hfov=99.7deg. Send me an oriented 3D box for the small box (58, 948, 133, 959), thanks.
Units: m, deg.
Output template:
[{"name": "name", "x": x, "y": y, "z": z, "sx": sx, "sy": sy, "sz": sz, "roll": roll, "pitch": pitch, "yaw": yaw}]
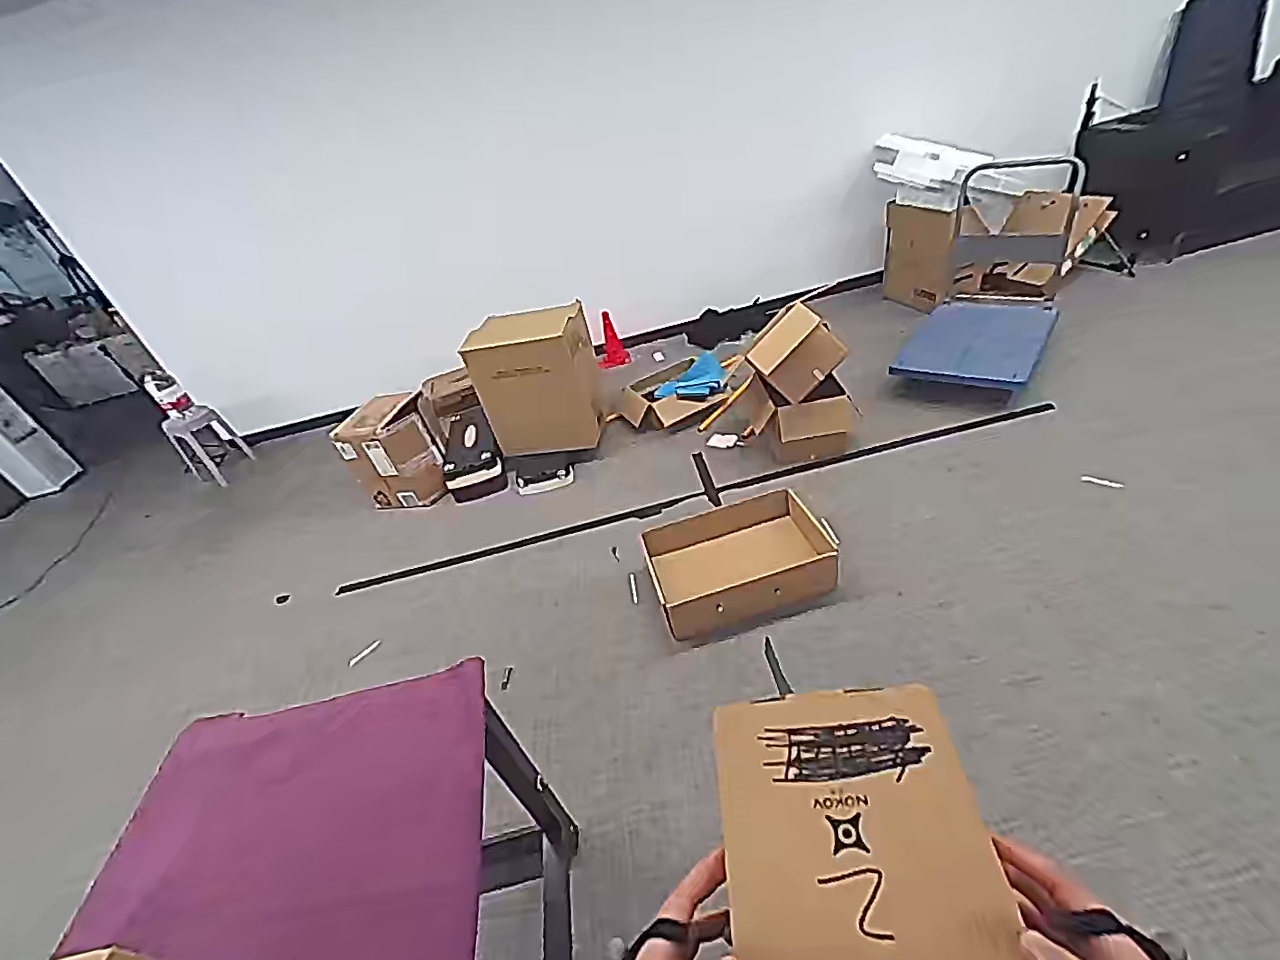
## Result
[{"name": "small box", "x": -0.499, "y": 0.527, "z": 0.446, "sx": 0.179, "sy": 0.176, "sz": 0.168, "roll": -14, "pitch": 35, "yaw": 1}]
